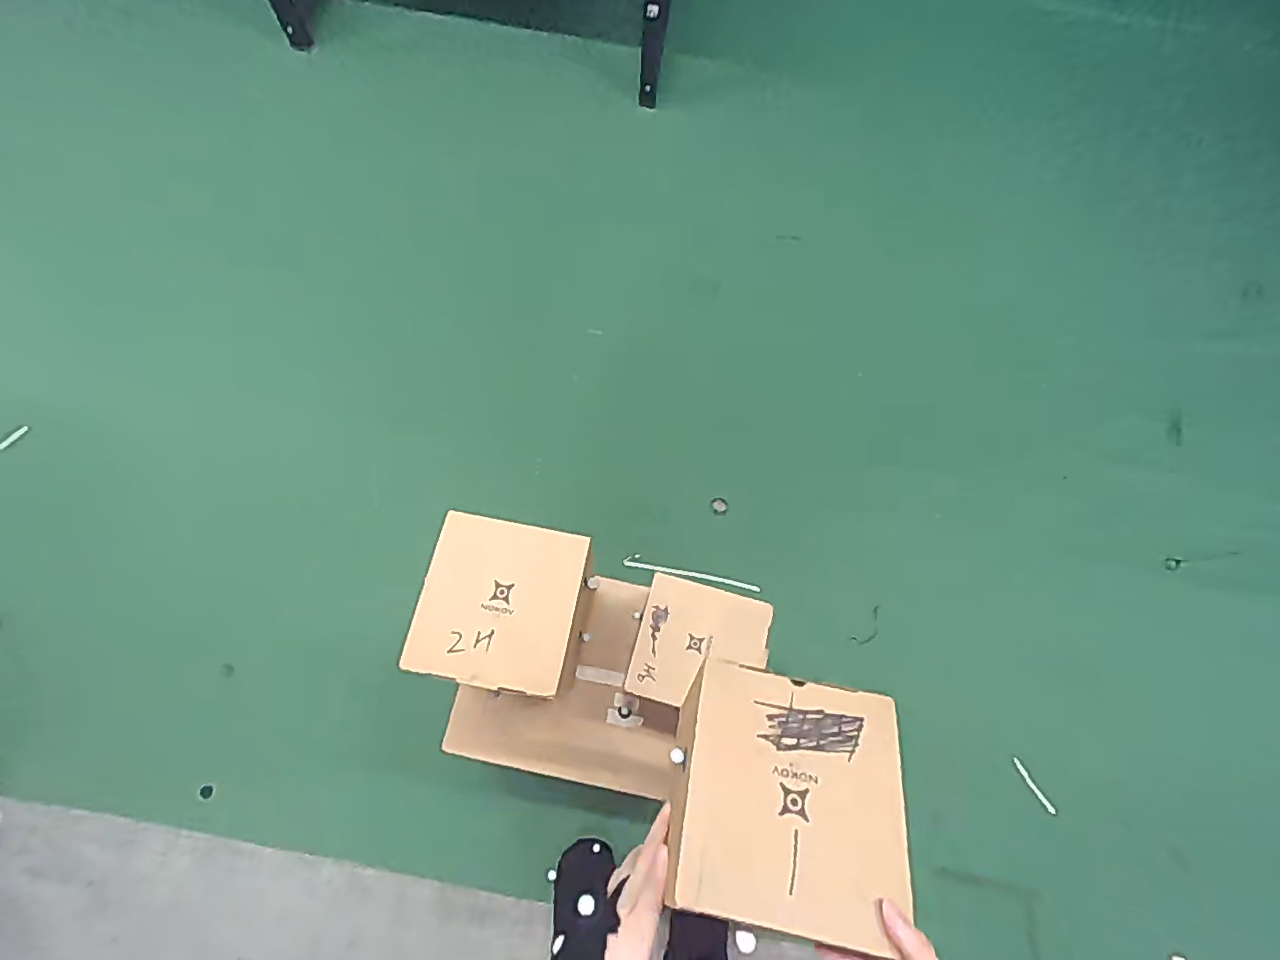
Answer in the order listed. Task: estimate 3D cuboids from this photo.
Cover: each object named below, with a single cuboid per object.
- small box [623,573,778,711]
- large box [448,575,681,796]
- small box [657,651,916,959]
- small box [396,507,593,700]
[{"bbox_3d":[0.081,0.252,0.793,0.179,0.176,0.168,16,69,4],"label":"small box"},{"bbox_3d":[-0.082,0.361,1.006,0.408,0.320,0.320,12,70,1],"label":"large box"},{"bbox_3d":[0.112,0.277,0.470,0.168,0.176,0.179,11,54,5],"label":"small box"},{"bbox_3d":[-0.155,0.153,0.645,0.168,0.176,0.179,12,69,1],"label":"small box"}]
